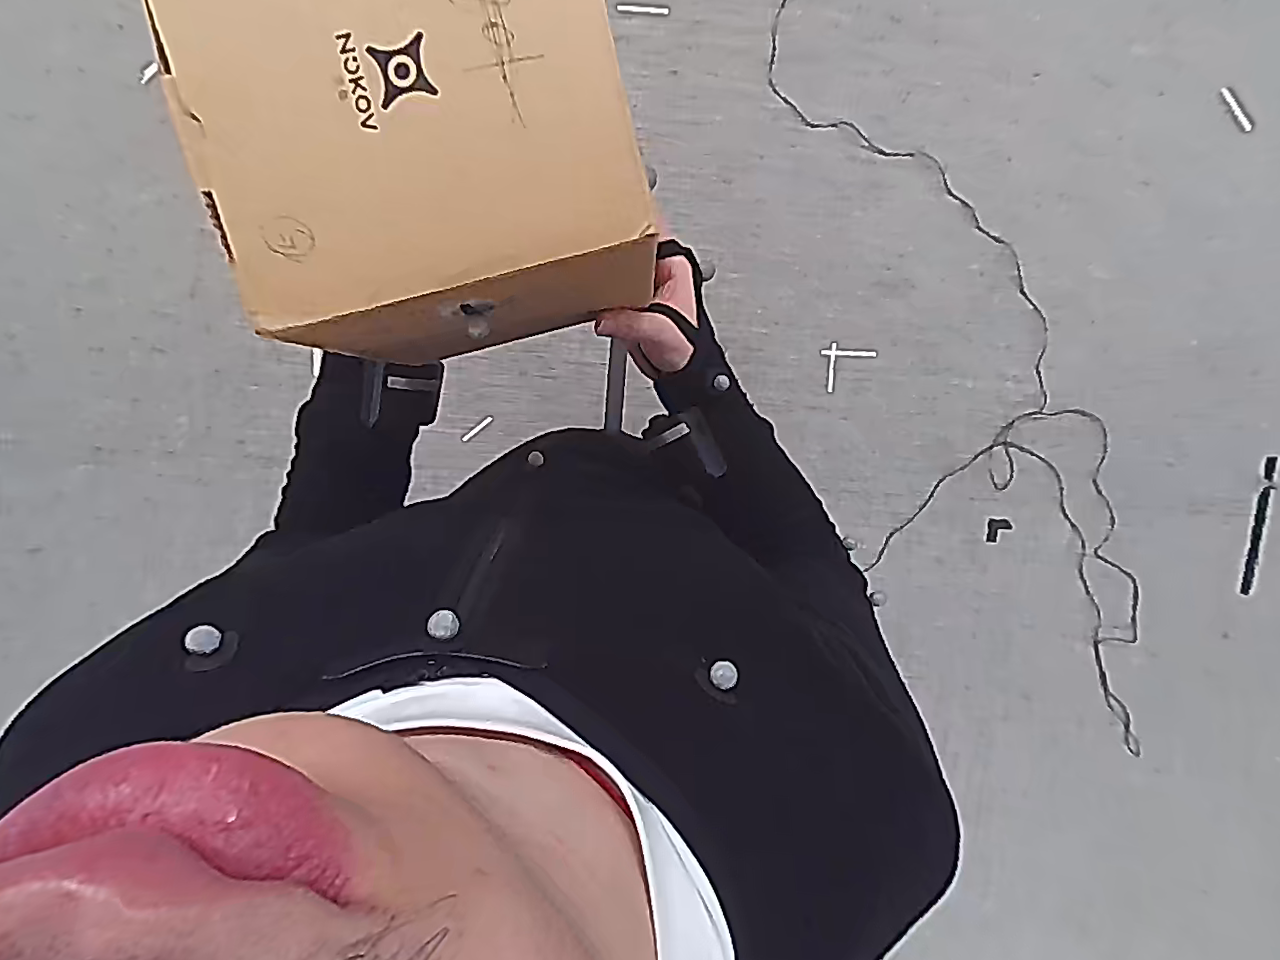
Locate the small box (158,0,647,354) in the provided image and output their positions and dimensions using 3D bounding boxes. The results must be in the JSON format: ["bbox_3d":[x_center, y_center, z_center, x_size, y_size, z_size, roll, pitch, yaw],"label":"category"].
[{"bbox_3d":[-0.098,-0.174,0.302,0.179,0.176,0.168,-15,99,2],"label":"small box"}]
